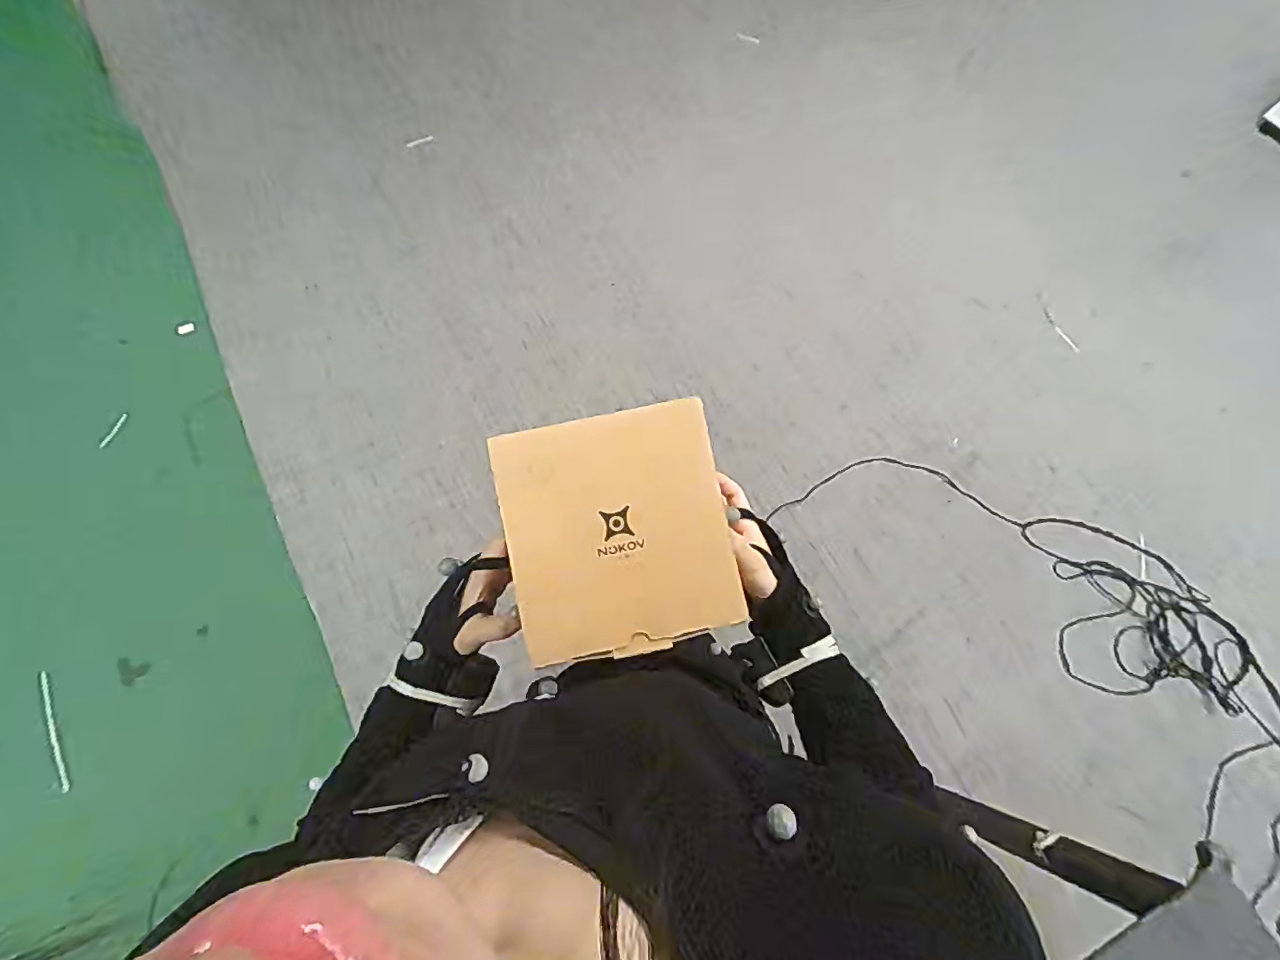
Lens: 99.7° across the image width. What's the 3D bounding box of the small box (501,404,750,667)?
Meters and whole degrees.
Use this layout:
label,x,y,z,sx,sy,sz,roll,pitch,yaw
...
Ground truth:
label,x,y,z,sx,sy,sz,roll,pitch,yaw
small box,-0.017,0.045,0.490,0.168,0.176,0.179,-12,88,-4
